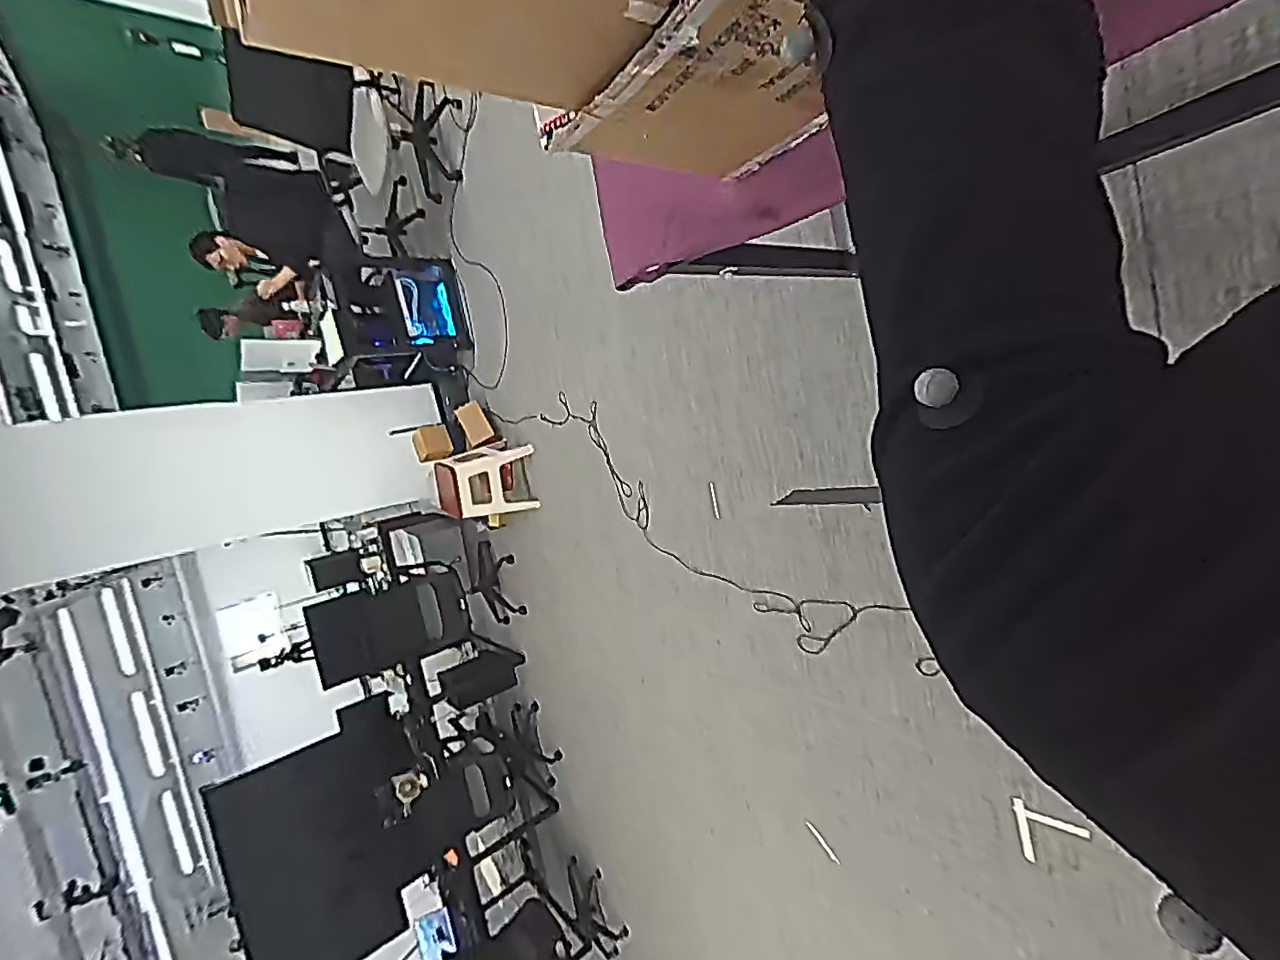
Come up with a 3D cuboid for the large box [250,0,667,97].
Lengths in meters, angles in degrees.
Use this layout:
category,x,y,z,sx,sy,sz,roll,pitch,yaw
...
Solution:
category,x,y,z,sx,sy,sz,roll,pitch,yaw
large box,-0.135,-0.580,0.369,0.320,0.320,0.408,-2,101,57
